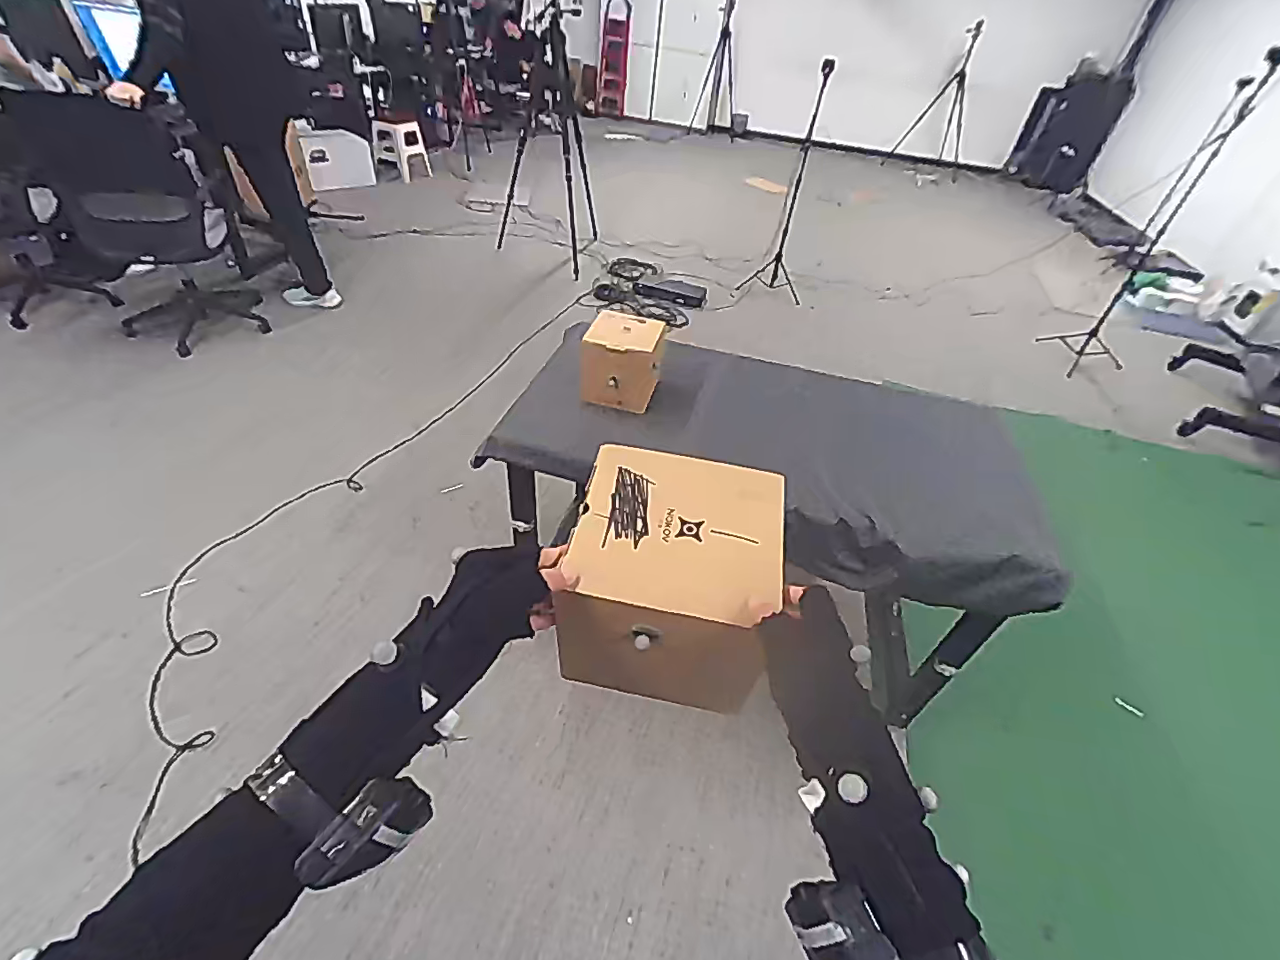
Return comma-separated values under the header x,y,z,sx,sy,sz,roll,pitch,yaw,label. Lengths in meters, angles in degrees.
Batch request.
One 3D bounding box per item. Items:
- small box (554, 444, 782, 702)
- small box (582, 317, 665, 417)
x,y,z,sx,sy,sz,roll,pitch,yaw,label
0.029,0.092,0.522,0.179,0.176,0.168,11,47,5,small box
-0.040,-0.279,1.341,0.168,0.176,0.179,13,42,7,small box
